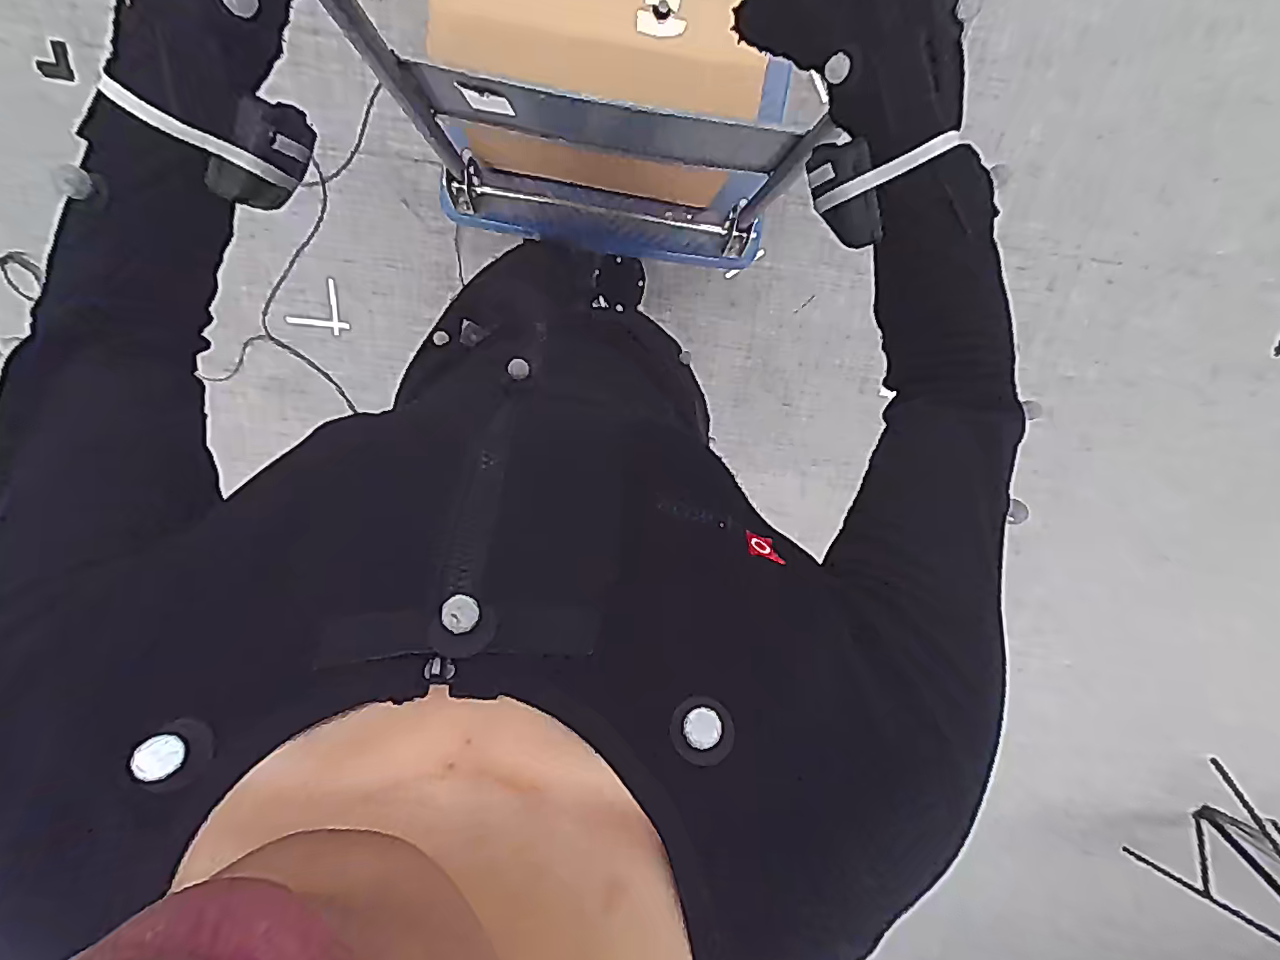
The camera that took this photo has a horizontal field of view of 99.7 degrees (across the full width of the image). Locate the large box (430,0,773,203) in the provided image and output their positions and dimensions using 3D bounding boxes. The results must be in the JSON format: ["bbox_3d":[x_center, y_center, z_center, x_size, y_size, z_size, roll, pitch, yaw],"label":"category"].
[{"bbox_3d":[-0.048,-0.631,0.773,0.408,0.320,0.320,7,102,-6],"label":"large box"}]
